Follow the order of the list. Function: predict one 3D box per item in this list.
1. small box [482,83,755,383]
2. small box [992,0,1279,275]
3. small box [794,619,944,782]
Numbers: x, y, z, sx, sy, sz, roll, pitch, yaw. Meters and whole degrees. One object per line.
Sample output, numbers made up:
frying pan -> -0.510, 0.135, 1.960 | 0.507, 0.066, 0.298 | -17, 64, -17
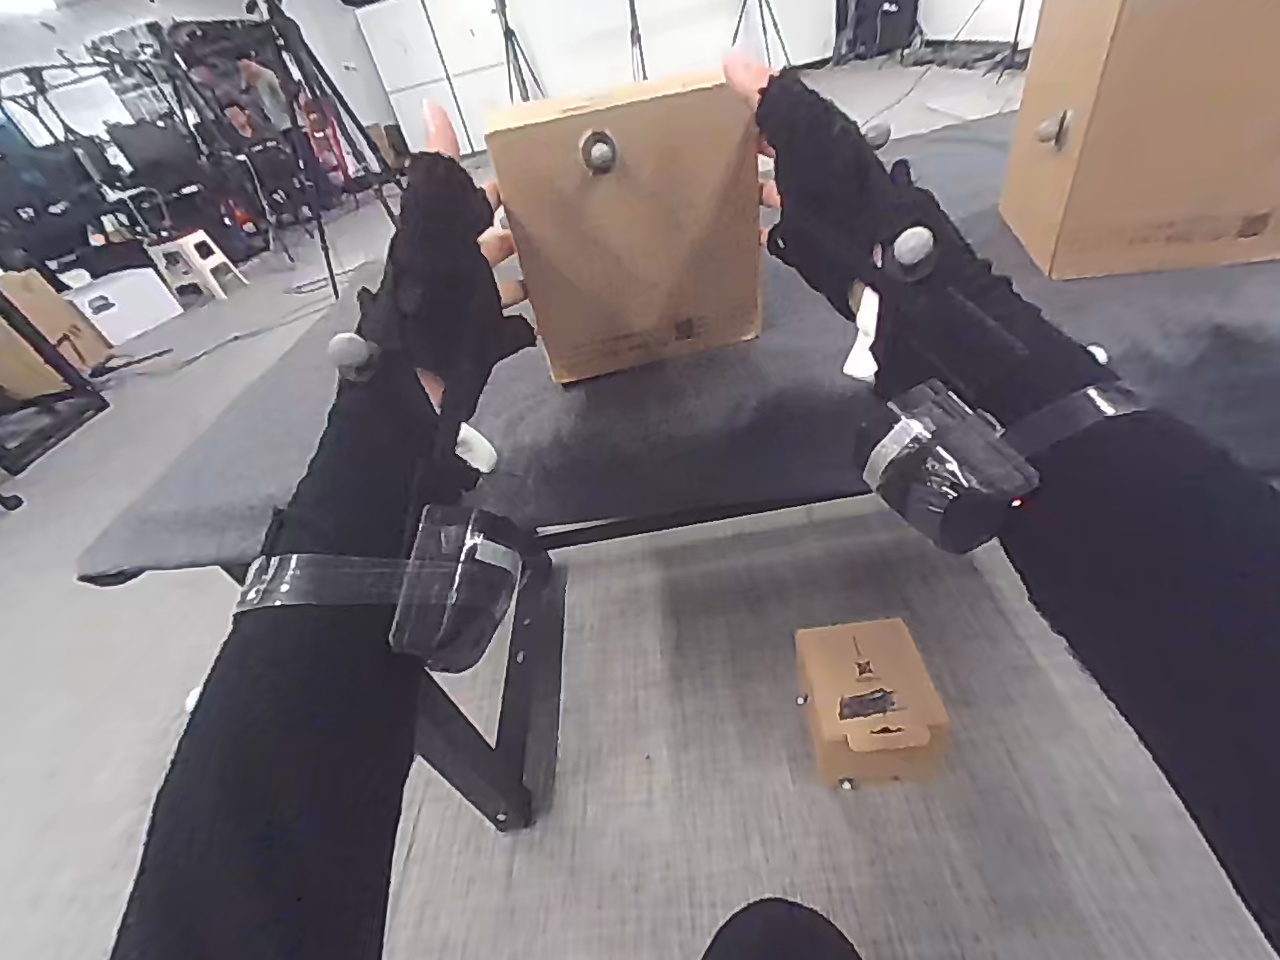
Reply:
small box -> -0.015, -0.199, 0.433 | 0.168, 0.176, 0.179 | -14, 38, -3
small box -> 0.372, -0.253, 0.380 | 0.168, 0.176, 0.179 | 2, 40, 18
small box -> 0.339, 0.344, 0.831 | 0.168, 0.176, 0.179 | -9, 38, 8
